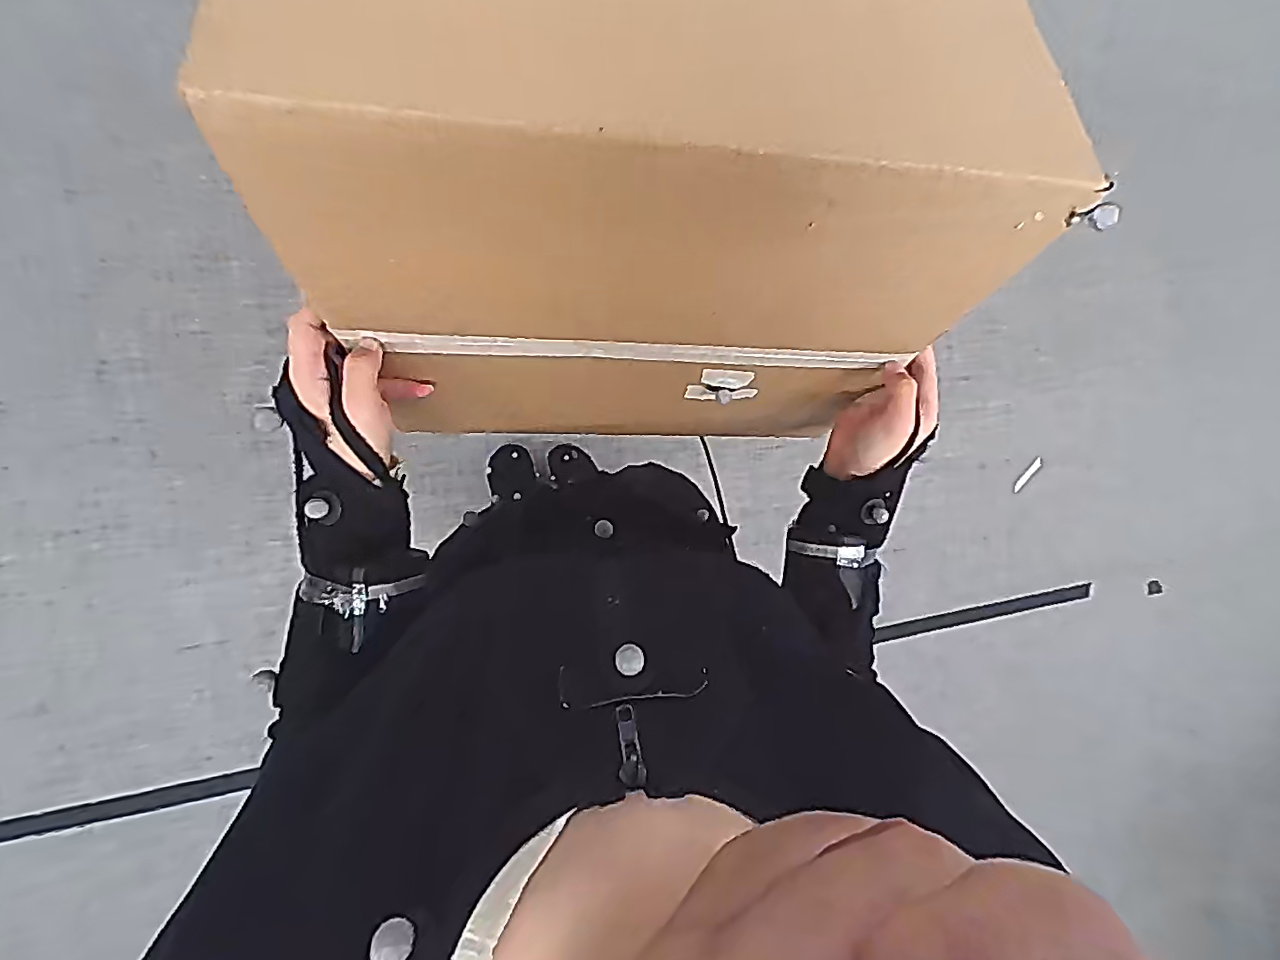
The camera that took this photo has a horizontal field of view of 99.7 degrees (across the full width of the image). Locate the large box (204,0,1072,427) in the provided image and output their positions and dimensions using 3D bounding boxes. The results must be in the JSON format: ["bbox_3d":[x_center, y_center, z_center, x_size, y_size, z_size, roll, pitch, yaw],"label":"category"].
[{"bbox_3d":[-0.011,-0.244,0.426,0.408,0.320,0.320,-1,73,-10],"label":"large box"}]
